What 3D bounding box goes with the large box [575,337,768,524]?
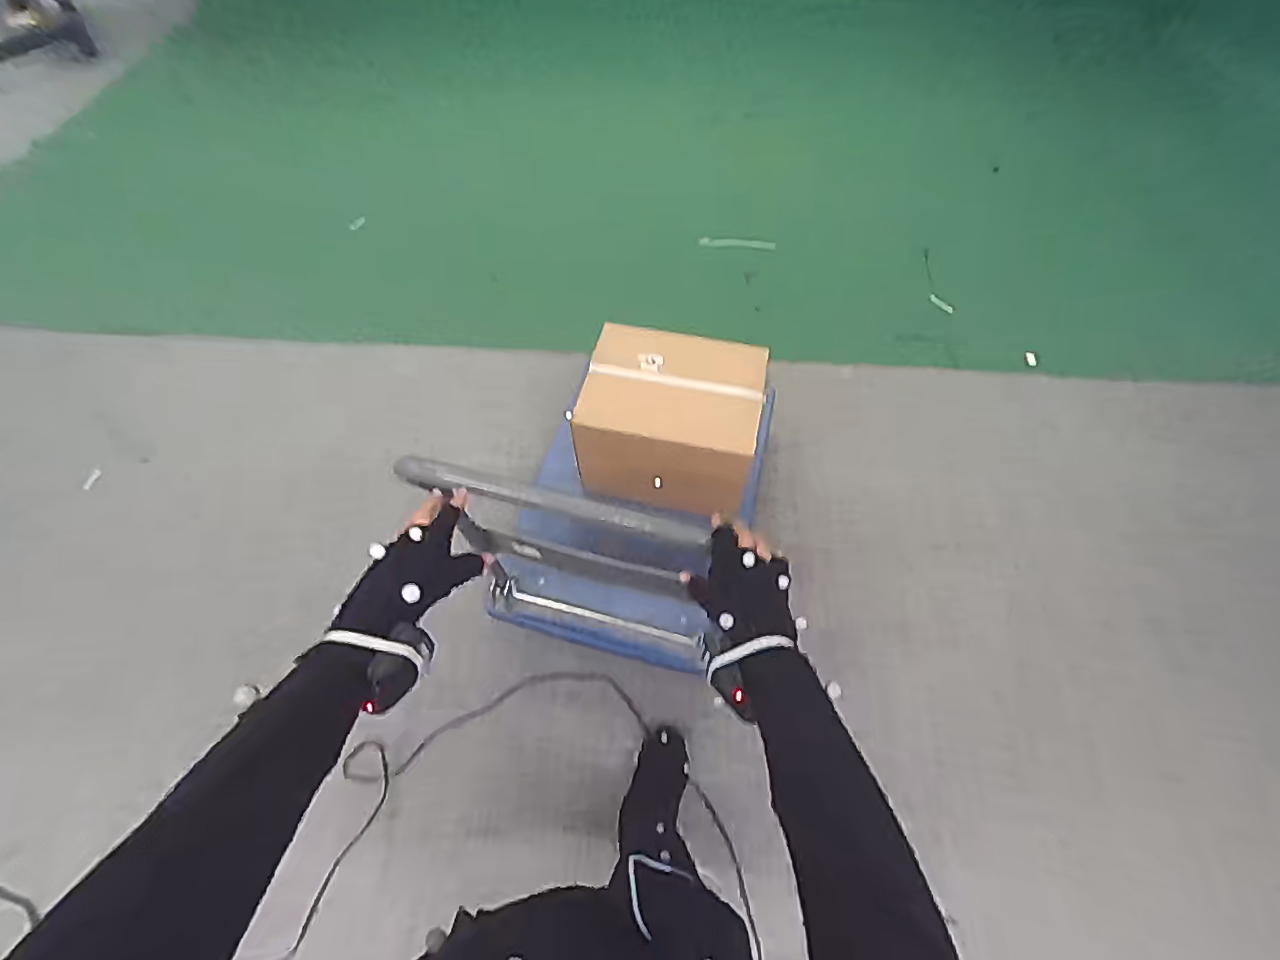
[{"bbox_3d":[0.086,-0.118,1.367,0.408,0.320,0.320,11,58,7],"label":"large box"}]
